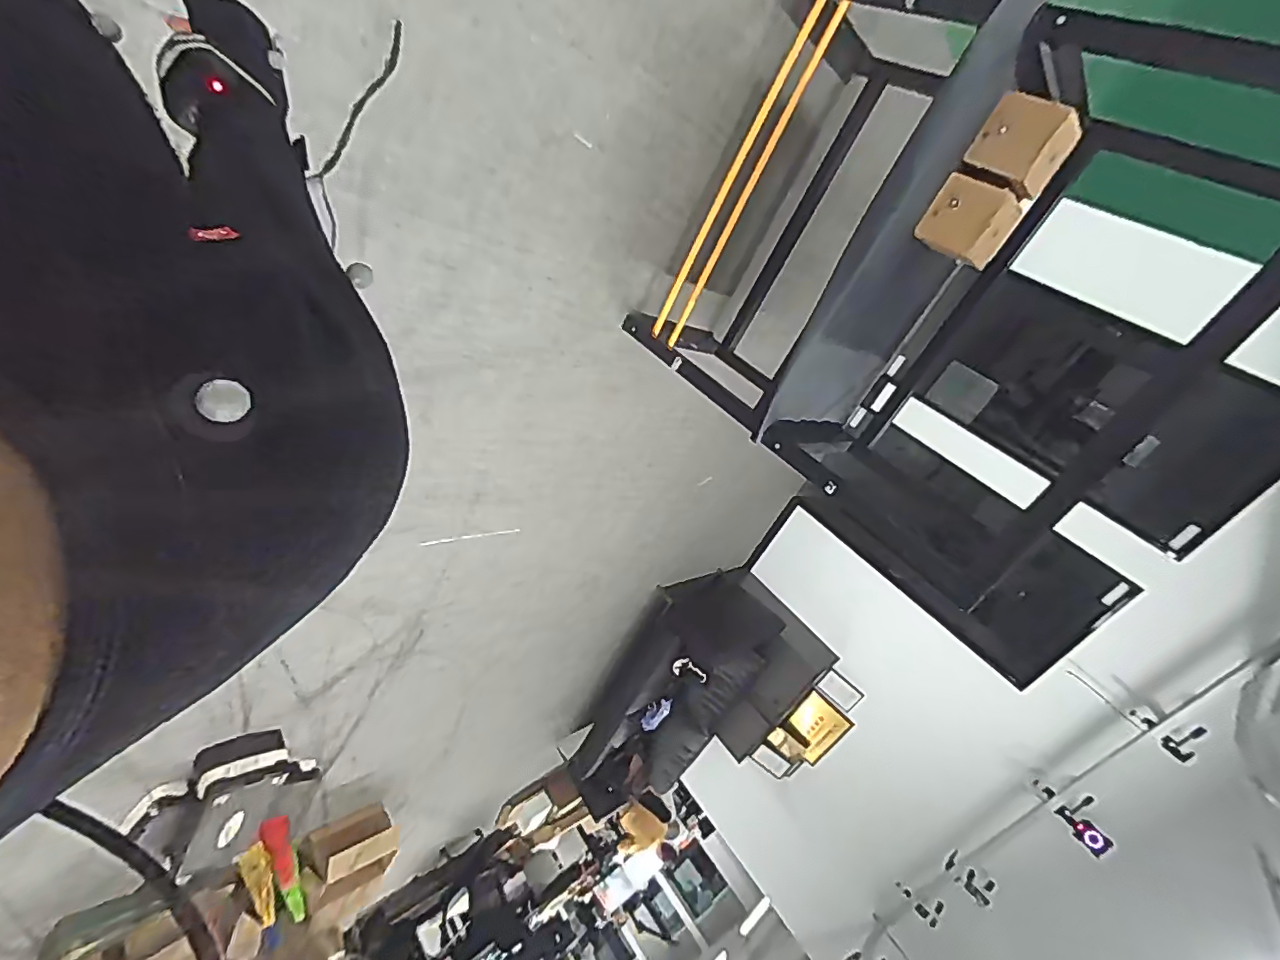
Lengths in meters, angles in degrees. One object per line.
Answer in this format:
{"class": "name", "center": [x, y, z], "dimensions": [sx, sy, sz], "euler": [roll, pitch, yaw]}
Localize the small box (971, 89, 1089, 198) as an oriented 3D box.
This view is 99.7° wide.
{"class": "small box", "center": [0.985, -0.853, 1.371], "dimensions": [0.179, 0.176, 0.168], "euler": [-7, 134, -47]}
